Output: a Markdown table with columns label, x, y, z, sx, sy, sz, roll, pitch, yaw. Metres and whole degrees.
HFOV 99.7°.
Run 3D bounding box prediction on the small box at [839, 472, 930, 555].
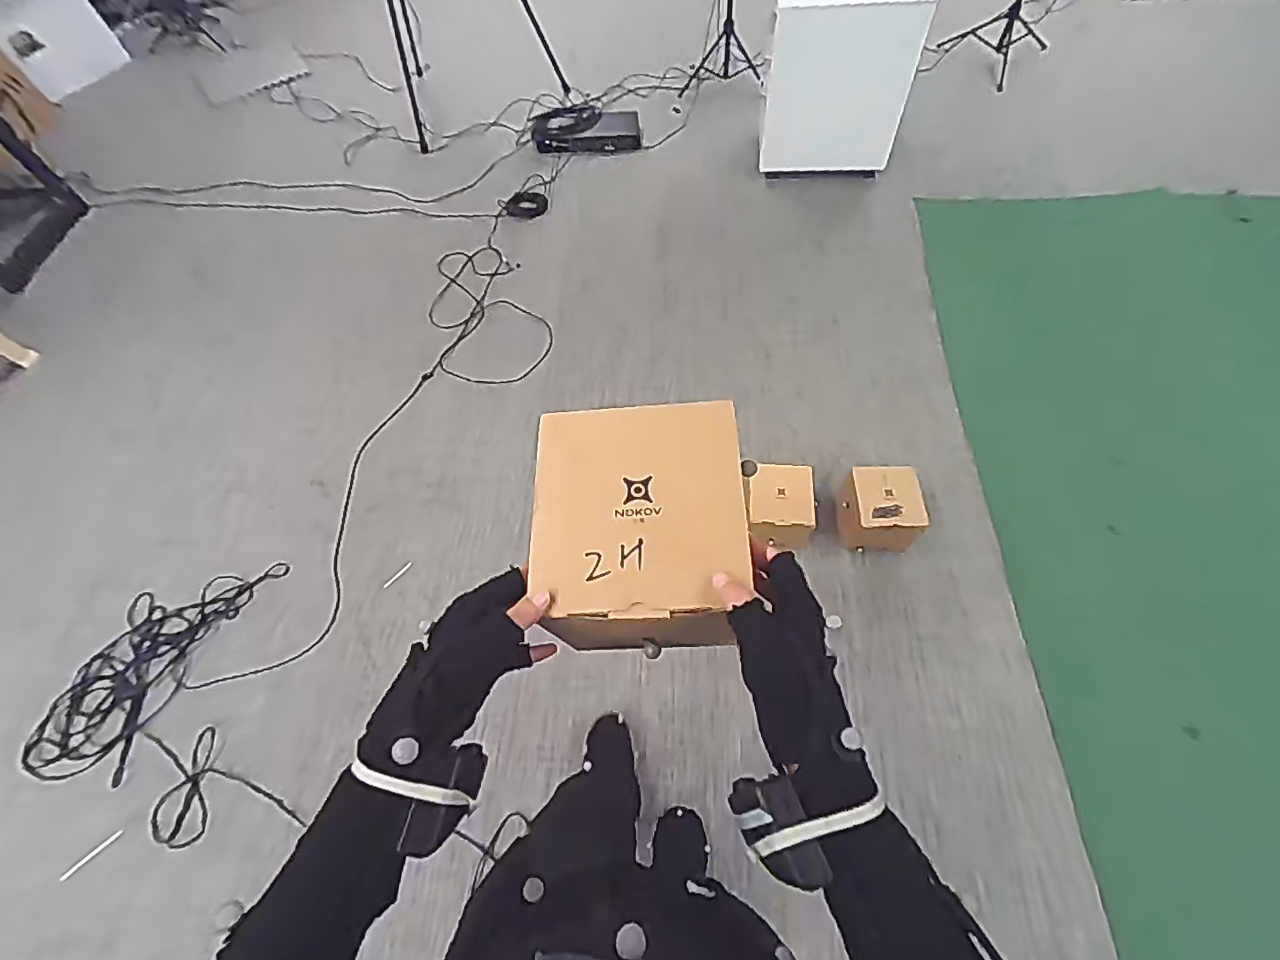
| label | x | y | z | sx | sy | sz | roll | pitch | yaw |
| --- | --- | --- | --- | --- | --- | --- | --- | --- | --- |
| small box | 0.644 | 0.094 | 1.447 | 0.168 | 0.176 | 0.179 | 0 | 60 | 5 |

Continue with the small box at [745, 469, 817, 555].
| label | x | y | z | sx | sy | sz | roll | pitch | yaw |
| --- | --- | --- | --- | --- | --- | --- | --- | --- | --- |
| small box | 0.377 | 0.089 | 1.474 | 0.168 | 0.176 | 0.179 | 3 | 61 | 6 |
